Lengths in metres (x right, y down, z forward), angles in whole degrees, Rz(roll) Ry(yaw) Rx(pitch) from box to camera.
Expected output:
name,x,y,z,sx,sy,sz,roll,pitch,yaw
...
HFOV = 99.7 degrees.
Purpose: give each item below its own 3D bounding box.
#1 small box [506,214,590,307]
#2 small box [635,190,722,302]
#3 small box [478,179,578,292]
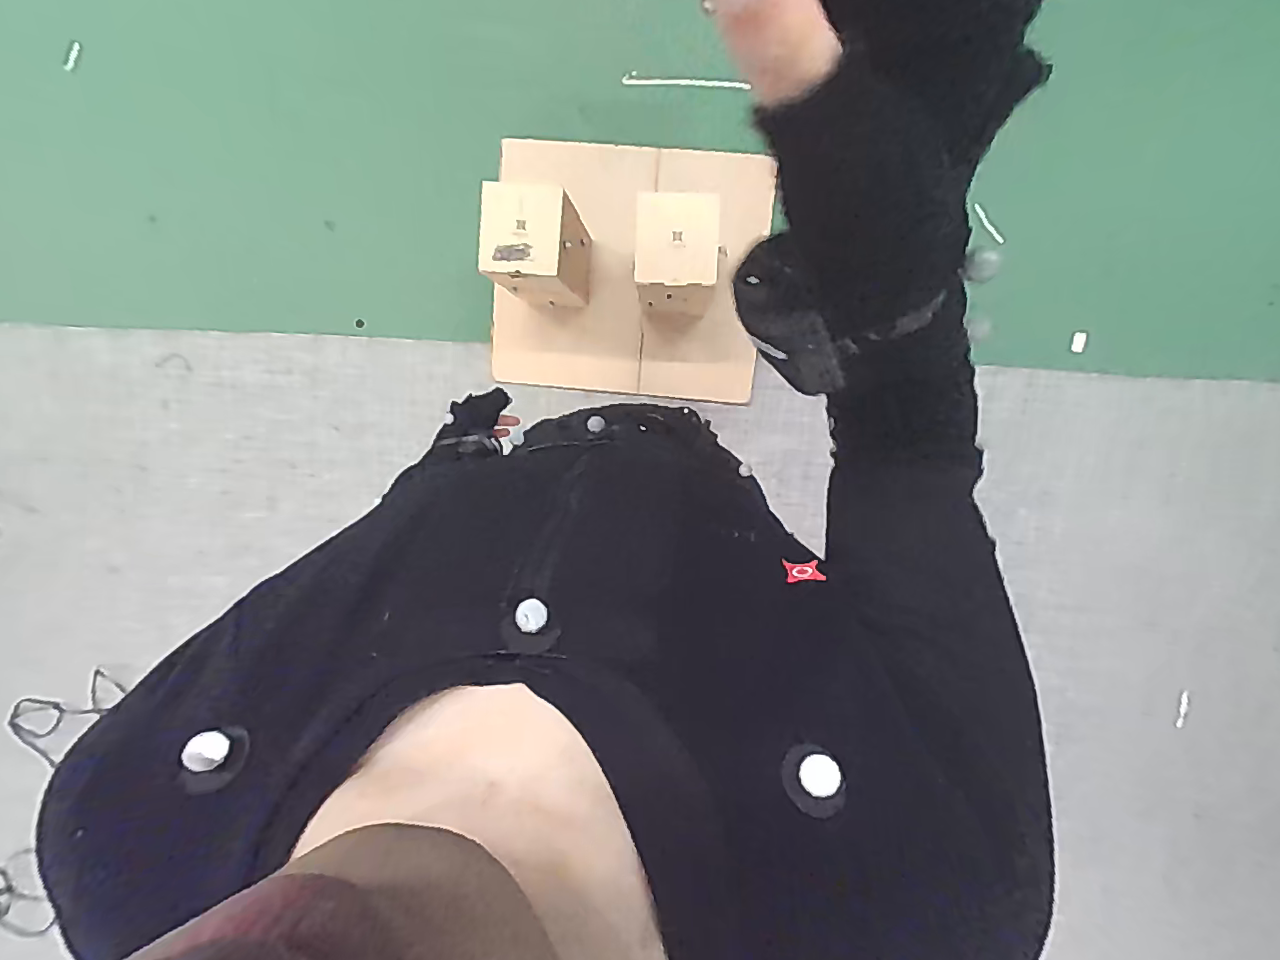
name,x,y,z,sx,sy,sz,roll,pitch,yaw
small box,-0.217,-0.530,1.312,0.168,0.176,0.179,4,98,5
small box,0.079,-0.484,1.136,0.168,0.176,0.179,2,98,3
small box,-0.231,-0.509,1.150,0.168,0.176,0.179,6,97,4
